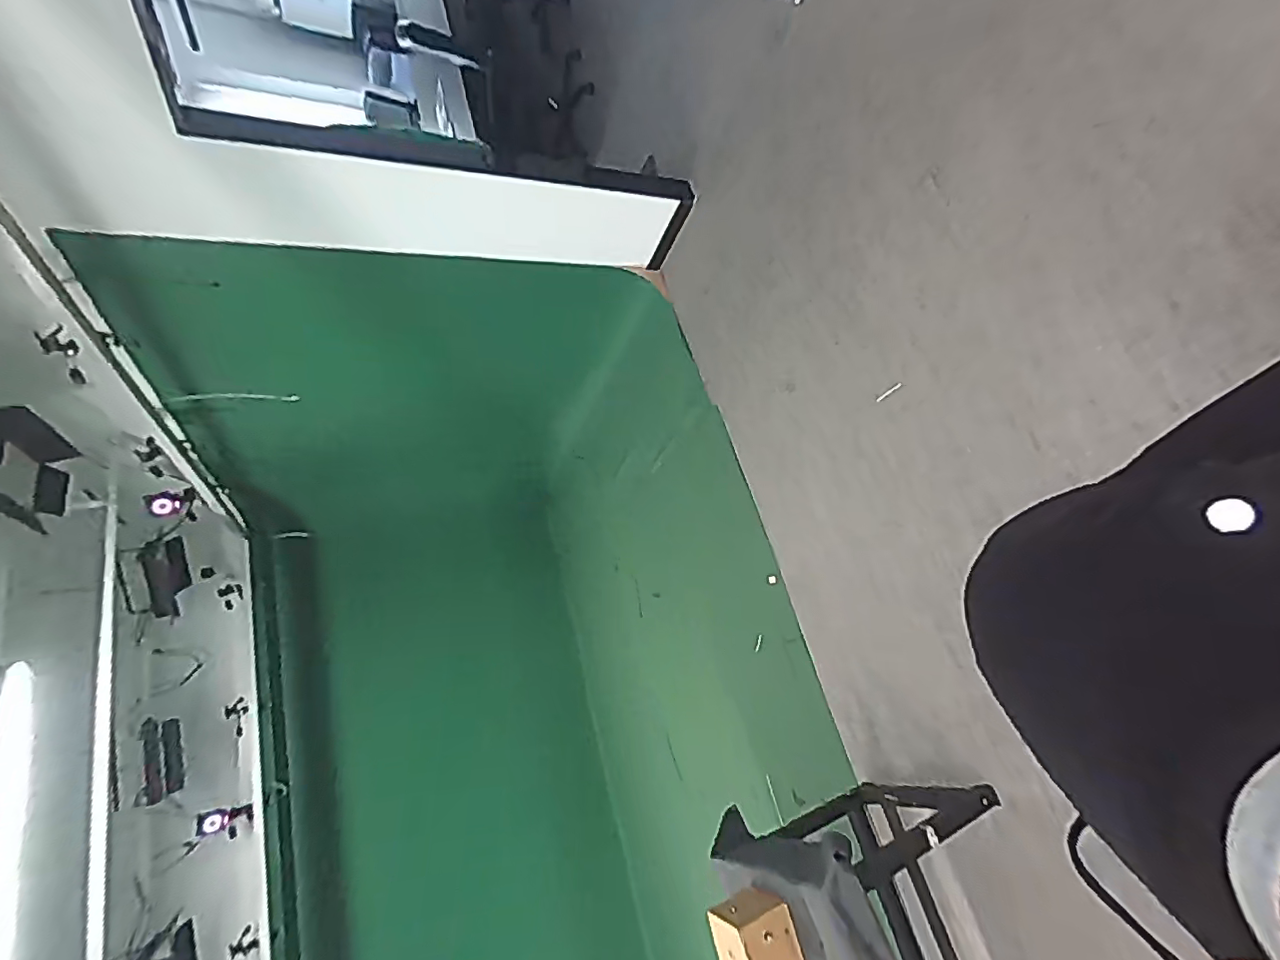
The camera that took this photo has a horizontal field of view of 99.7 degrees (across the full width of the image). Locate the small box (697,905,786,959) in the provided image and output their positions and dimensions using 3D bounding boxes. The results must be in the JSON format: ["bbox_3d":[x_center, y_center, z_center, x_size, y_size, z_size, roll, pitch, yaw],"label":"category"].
[{"bbox_3d":[0.285,1.302,1.471,0.179,0.176,0.168,-46,54,57],"label":"small box"}]
